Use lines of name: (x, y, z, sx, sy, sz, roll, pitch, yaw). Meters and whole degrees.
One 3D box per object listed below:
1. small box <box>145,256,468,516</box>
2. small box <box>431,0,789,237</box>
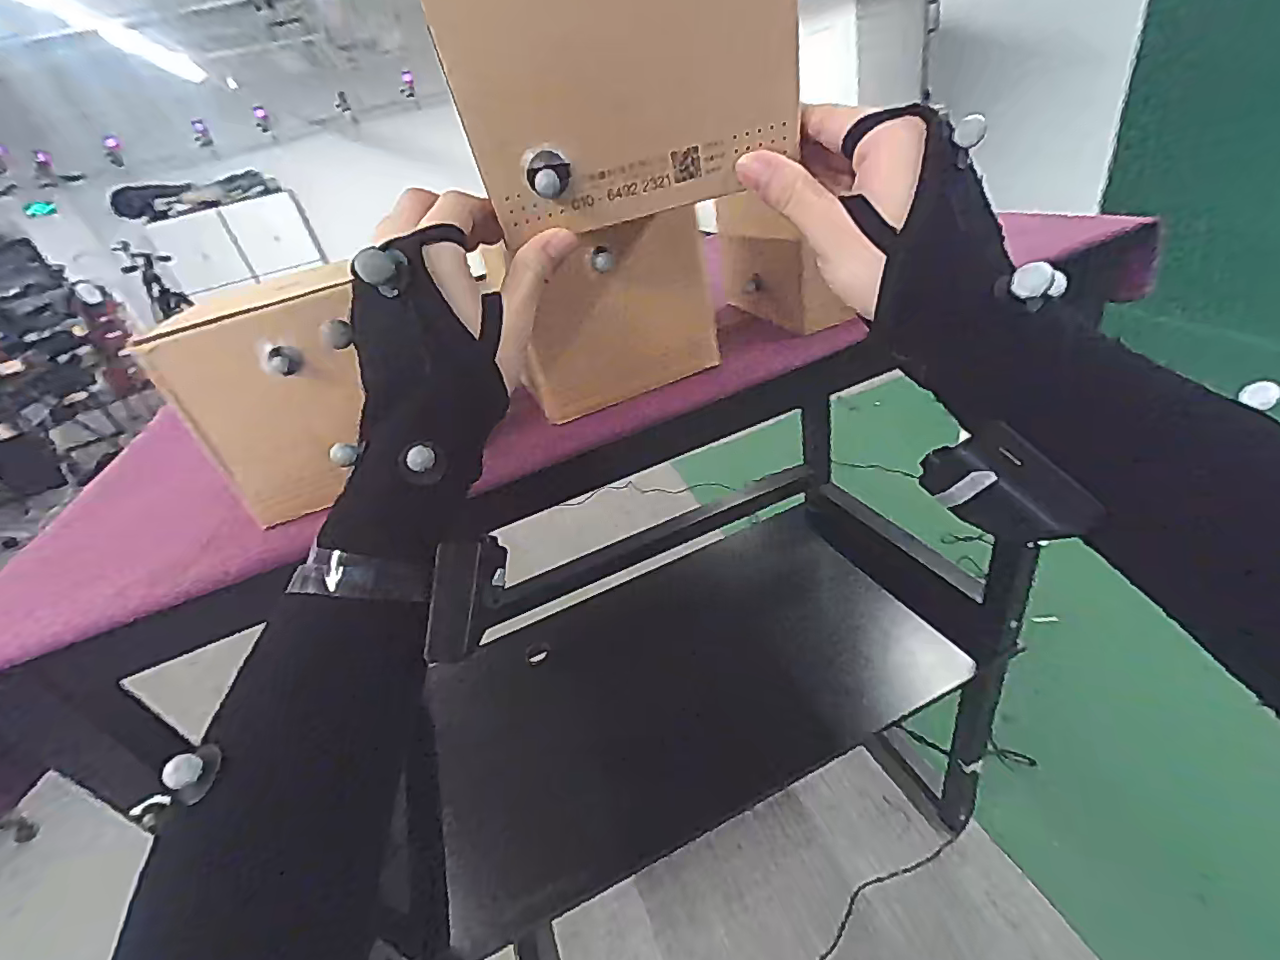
small box: (-0.278, -0.092, 0.502, 0.179, 0.176, 0.168, -20, 32, -10)
small box: (-0.017, -0.261, 0.320, 0.168, 0.176, 0.179, -13, 39, 2)
